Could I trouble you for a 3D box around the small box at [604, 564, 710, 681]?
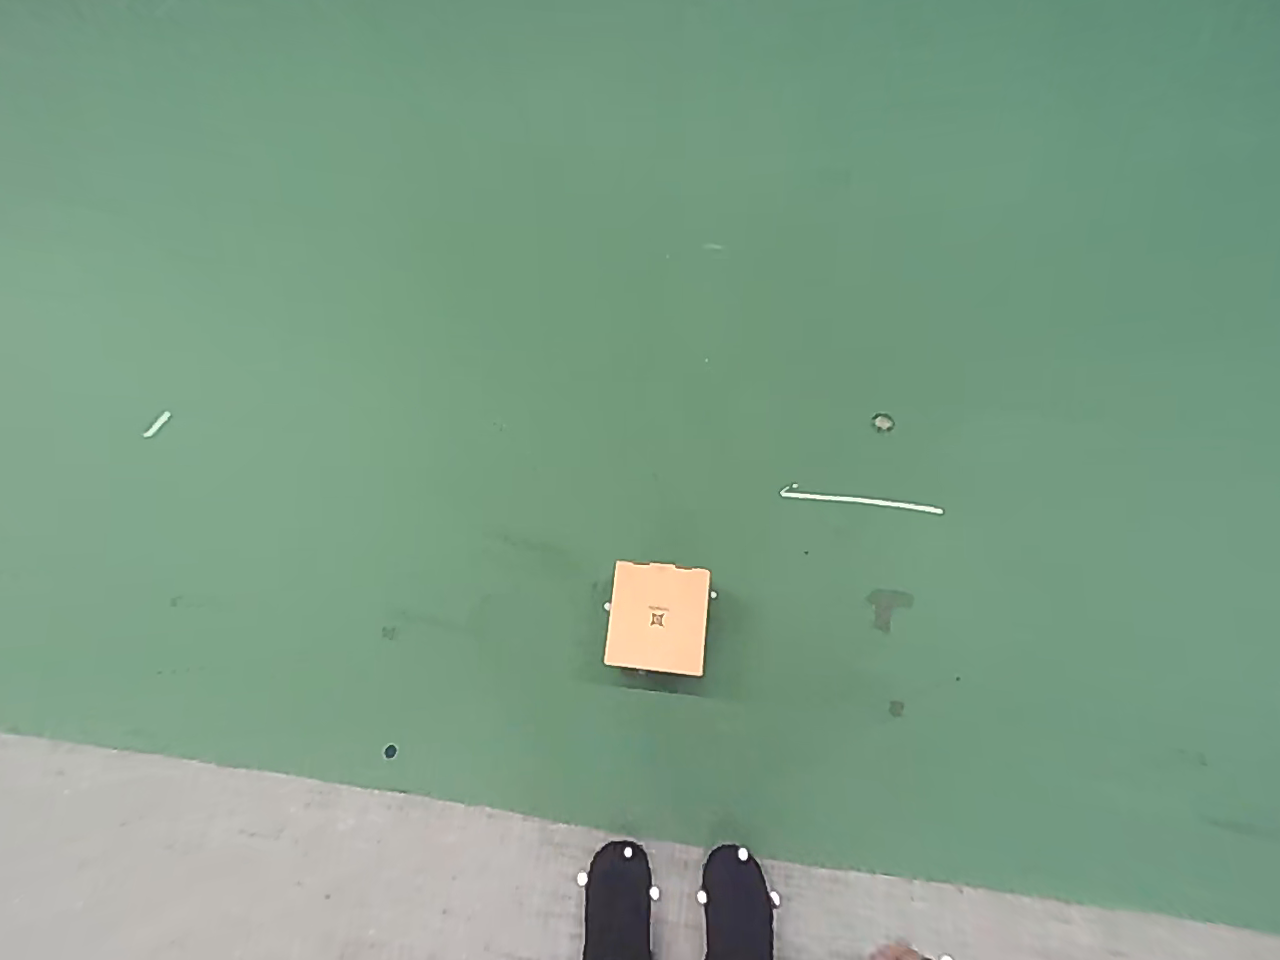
[{"bbox_3d":[0.038,0.258,0.978,0.168,0.176,0.179,4,74,7],"label":"small box"}]
